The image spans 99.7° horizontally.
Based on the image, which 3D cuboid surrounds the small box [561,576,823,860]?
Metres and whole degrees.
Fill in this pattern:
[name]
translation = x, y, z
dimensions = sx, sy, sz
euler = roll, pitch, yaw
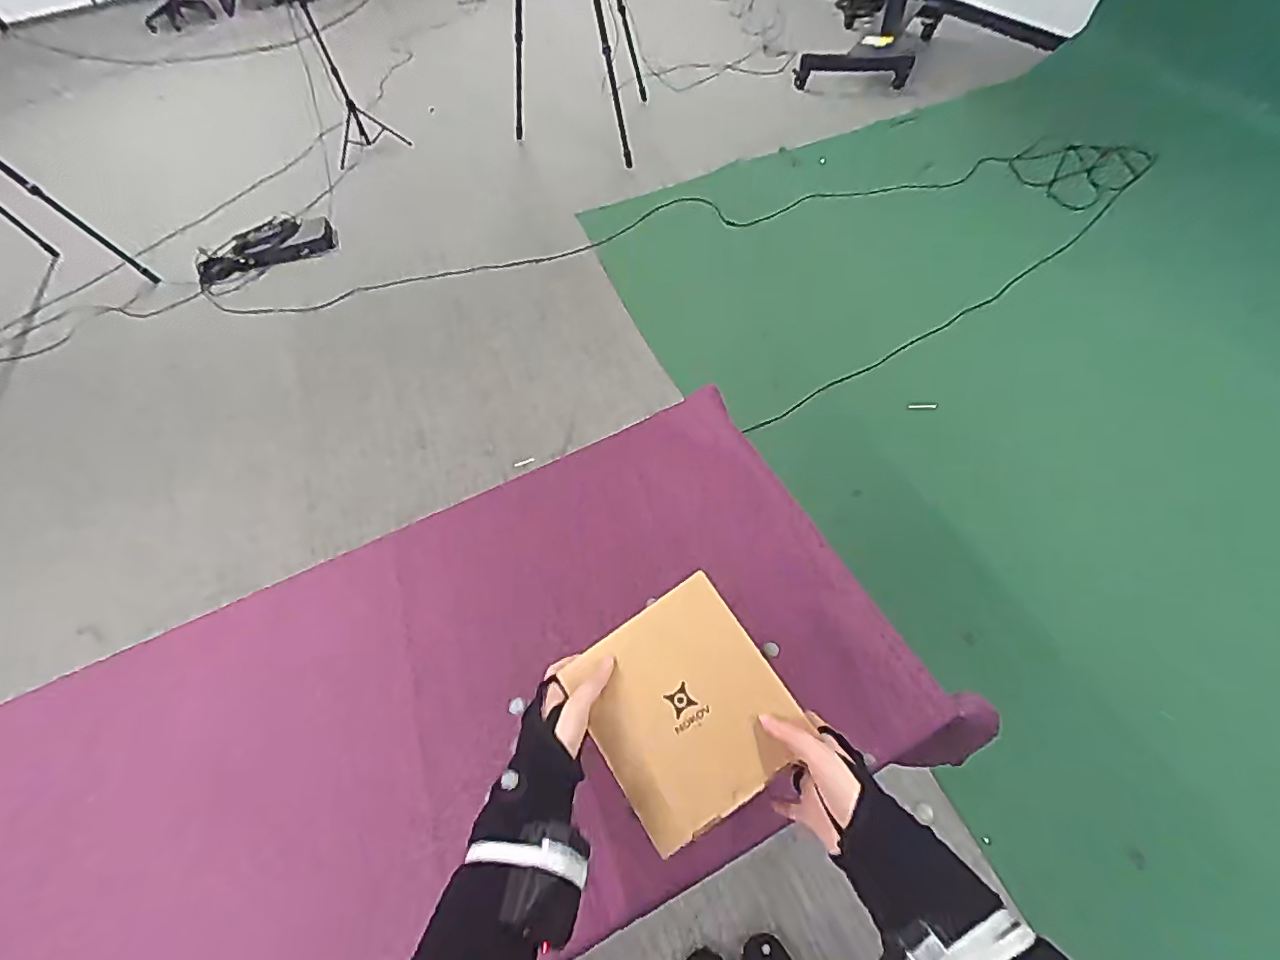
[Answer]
[small box]
translation = 0.050, 0.222, 0.545
dimensions = 0.168, 0.176, 0.179
euler = -36, 72, -3
